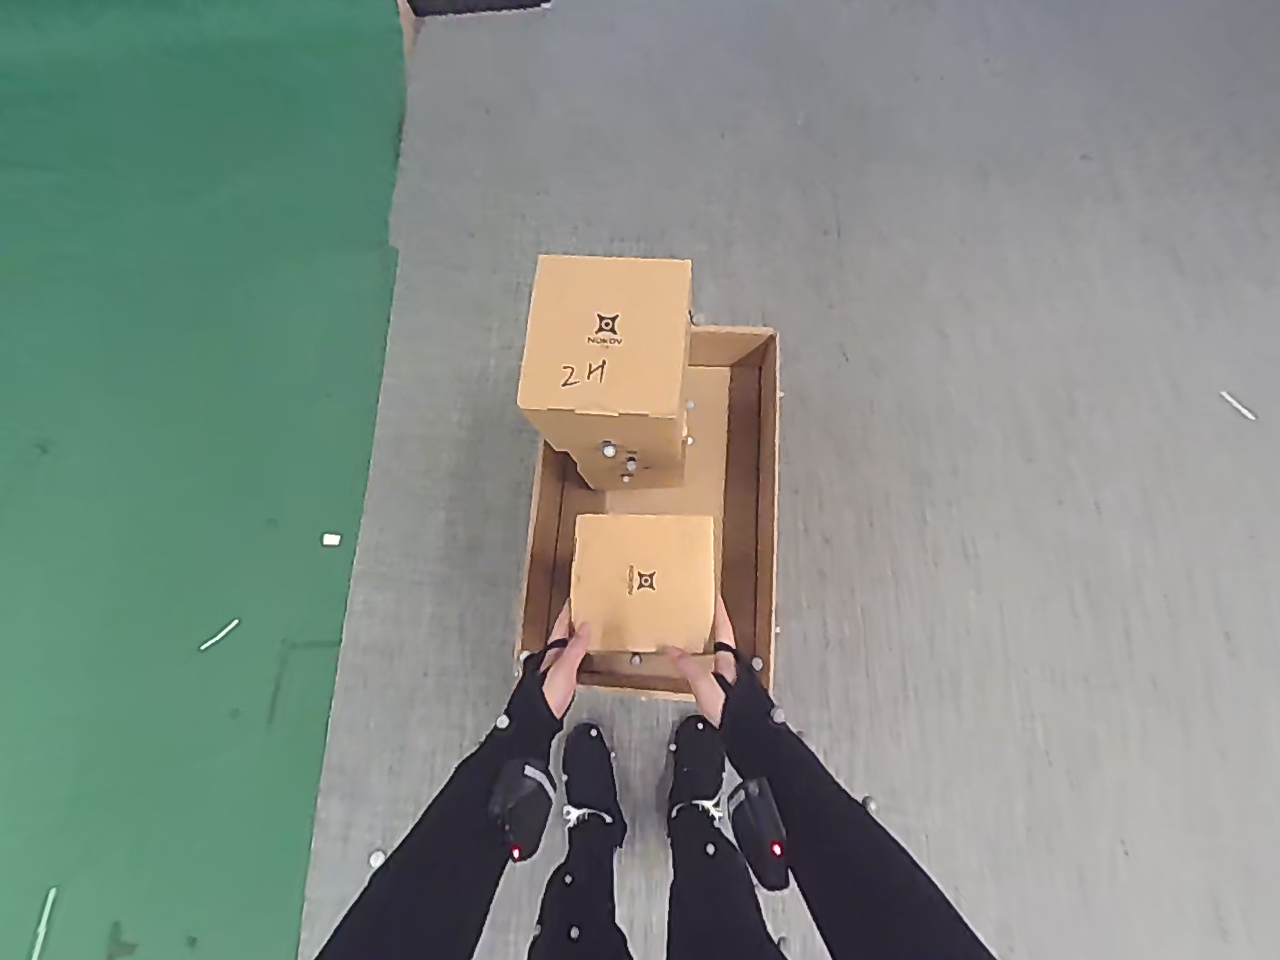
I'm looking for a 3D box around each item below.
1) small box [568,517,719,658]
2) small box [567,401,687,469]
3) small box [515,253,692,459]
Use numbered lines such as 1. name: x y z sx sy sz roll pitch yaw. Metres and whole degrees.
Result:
1. small box: 0.012 0.148 0.720 0.179 0.176 0.168 -1 71 6
2. small box: -0.016 -0.116 0.791 0.168 0.176 0.179 -3 78 4
3. small box: -0.030 -0.134 0.626 0.168 0.176 0.179 4 79 7
